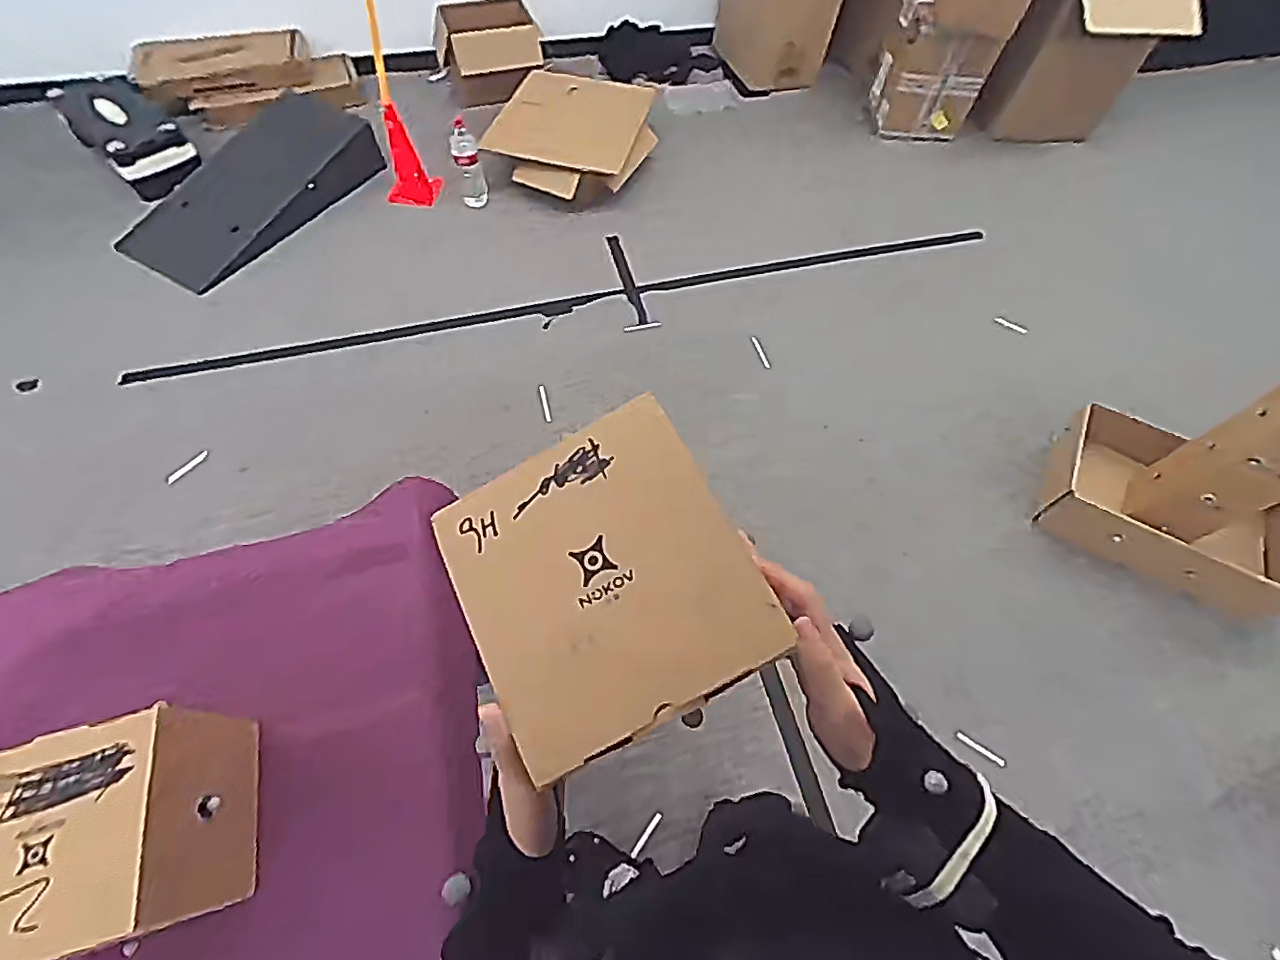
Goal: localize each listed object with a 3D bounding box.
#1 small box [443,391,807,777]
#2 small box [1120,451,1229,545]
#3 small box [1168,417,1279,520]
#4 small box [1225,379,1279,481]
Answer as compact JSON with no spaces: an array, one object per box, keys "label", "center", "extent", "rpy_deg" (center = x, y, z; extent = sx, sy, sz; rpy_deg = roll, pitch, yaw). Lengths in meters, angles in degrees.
[{"label":"small box","center":[-0.004,0.072,0.393],"extent":[0.168,0.176,0.179],"rpy_deg":[-29,72,0]},{"label":"small box","center":[1.556,0.055,1.576],"extent":[0.168,0.176,0.179],"rpy_deg":[31,63,15]},{"label":"small box","center":[1.564,-0.028,1.437],"extent":[0.168,0.176,0.179],"rpy_deg":[29,63,15]},{"label":"small box","center":[1.572,-0.117,1.298],"extent":[0.168,0.176,0.179],"rpy_deg":[28,61,14]}]
